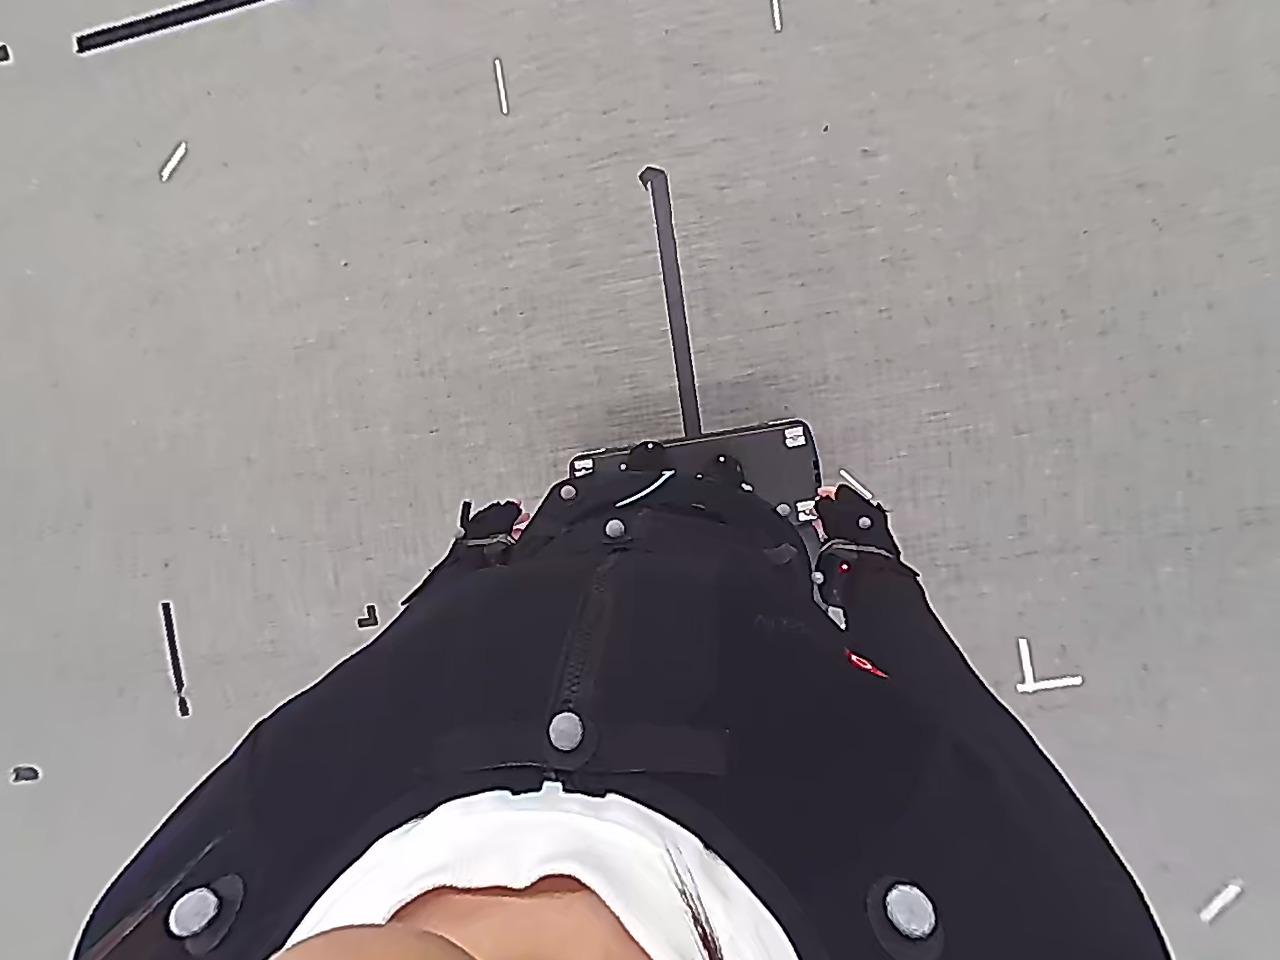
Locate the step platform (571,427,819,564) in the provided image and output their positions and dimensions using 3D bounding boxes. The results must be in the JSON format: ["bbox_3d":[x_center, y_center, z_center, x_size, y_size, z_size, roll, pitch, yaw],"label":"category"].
[{"bbox_3d":[0.147,0.043,1.531,0.684,0.204,0.286,-10,94,6],"label":"step platform"}]
